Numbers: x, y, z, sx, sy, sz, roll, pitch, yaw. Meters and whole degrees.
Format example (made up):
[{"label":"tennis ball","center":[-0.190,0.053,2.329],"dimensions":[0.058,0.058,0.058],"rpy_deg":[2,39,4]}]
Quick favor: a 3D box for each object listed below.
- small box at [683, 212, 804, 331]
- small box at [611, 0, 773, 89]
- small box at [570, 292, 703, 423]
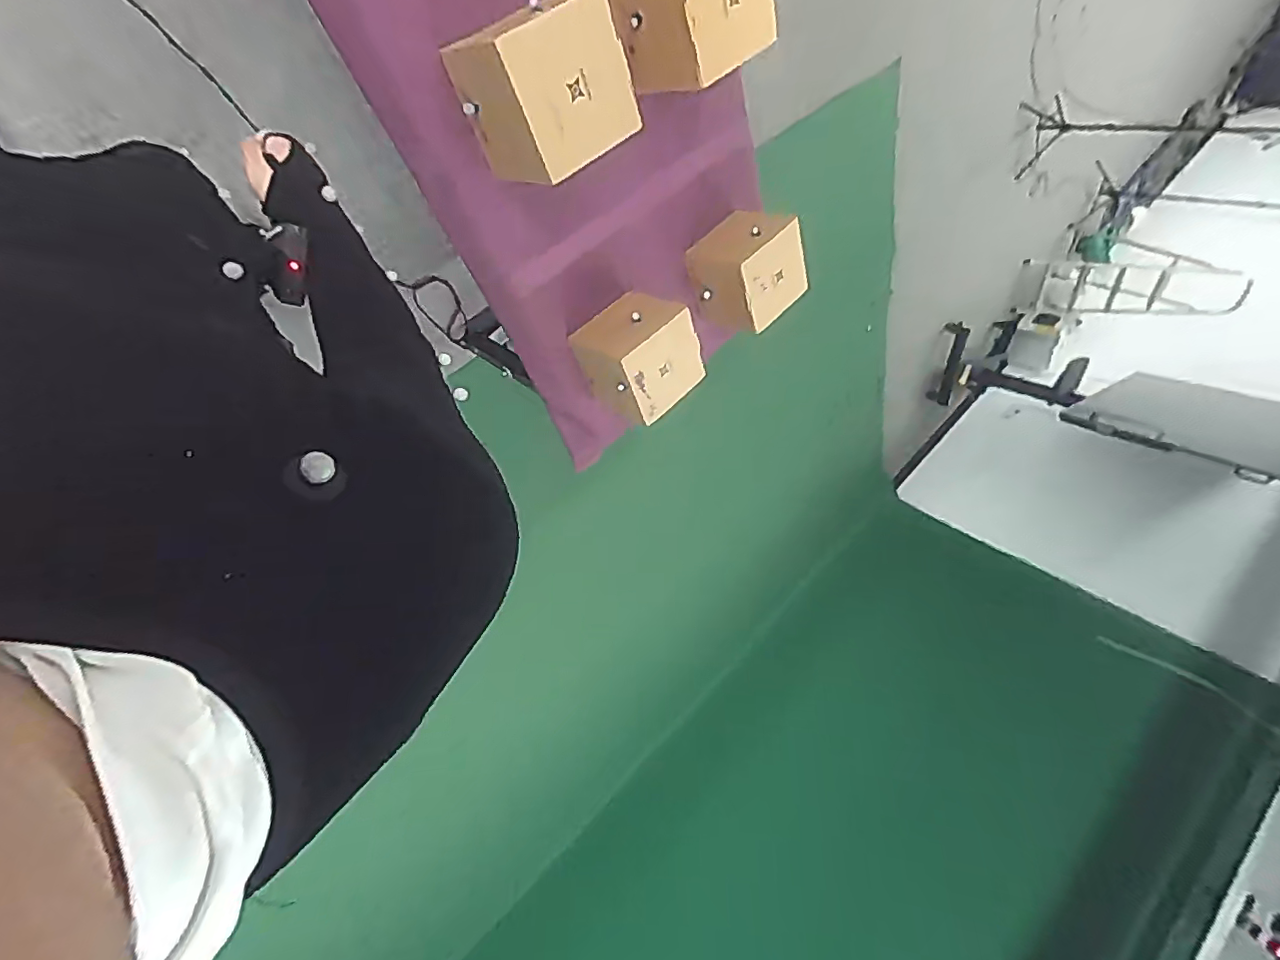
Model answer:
[{"label":"small box","center":[0.223,-0.453,1.160],"dimensions":[0.179,0.176,0.168],"rpy_deg":[-43,136,-15]},{"label":"small box","center":[0.078,-0.735,0.834],"dimensions":[0.179,0.176,0.168],"rpy_deg":[-42,139,-15]},{"label":"small box","center":[-0.006,-0.249,1.071],"dimensions":[0.179,0.176,0.168],"rpy_deg":[-43,137,-18]}]
